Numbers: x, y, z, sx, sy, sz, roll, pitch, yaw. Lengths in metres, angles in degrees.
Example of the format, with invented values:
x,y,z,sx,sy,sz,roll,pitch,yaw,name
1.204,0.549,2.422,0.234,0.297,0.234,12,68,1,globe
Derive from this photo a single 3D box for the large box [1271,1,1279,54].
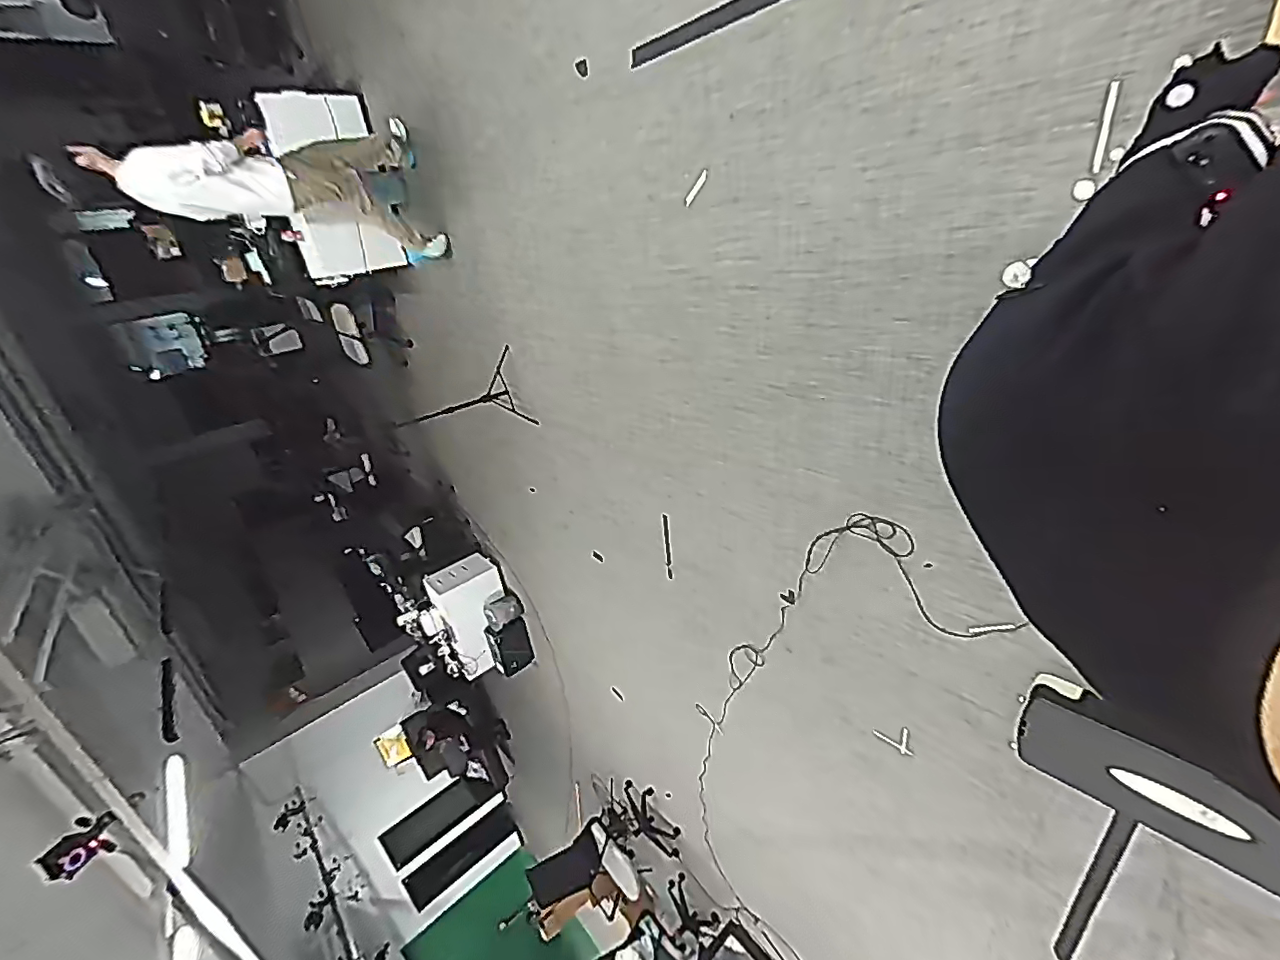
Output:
x,y,z,sx,sy,sz,roll,pitch,yaw,name
1.029,-0.710,0.580,0.408,0.320,0.320,19,127,45,large box
